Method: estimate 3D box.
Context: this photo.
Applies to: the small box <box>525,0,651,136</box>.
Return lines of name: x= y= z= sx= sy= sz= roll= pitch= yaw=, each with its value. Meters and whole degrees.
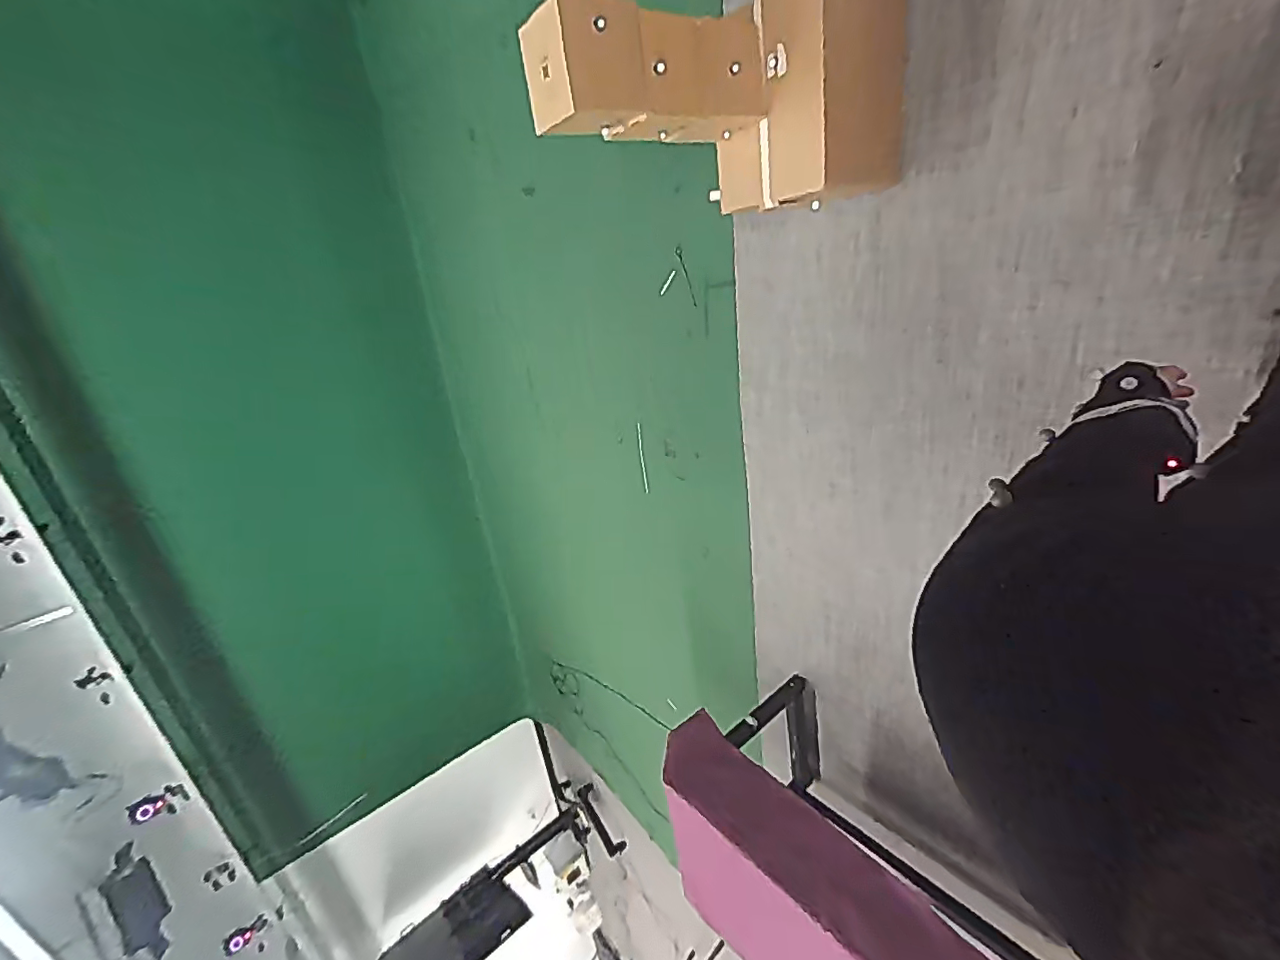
small box: x=-0.096 y=-0.782 z=1.043 sx=0.168 sy=0.176 sz=0.179 roll=24 pitch=129 yaw=52

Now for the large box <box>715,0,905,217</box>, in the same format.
large box: x=0.411 y=-0.886 z=1.306 sx=0.320 sy=0.320 sz=0.408 roll=19 pitch=123 yaw=50

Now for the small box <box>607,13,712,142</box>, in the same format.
small box: x=0.033 y=-0.828 z=1.132 sx=0.168 sy=0.176 sz=0.179 roll=21 pitch=126 yaw=52
